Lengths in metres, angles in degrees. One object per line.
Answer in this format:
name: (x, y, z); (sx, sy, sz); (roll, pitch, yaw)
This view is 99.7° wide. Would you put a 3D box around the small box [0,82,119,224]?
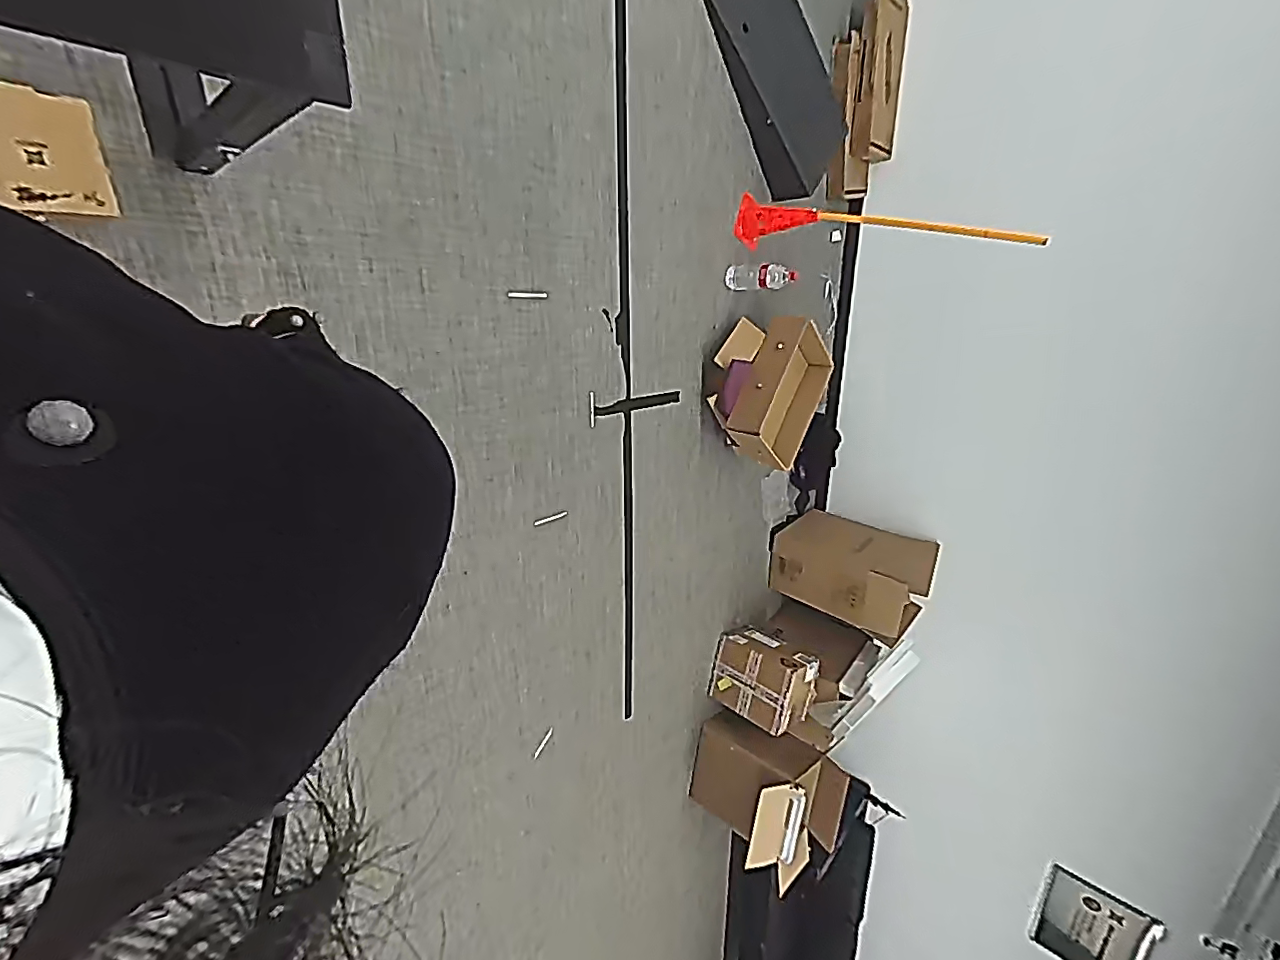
small box: (-1.015, -0.538, 0.903); (0.168, 0.176, 0.179); (-19, 116, -43)
